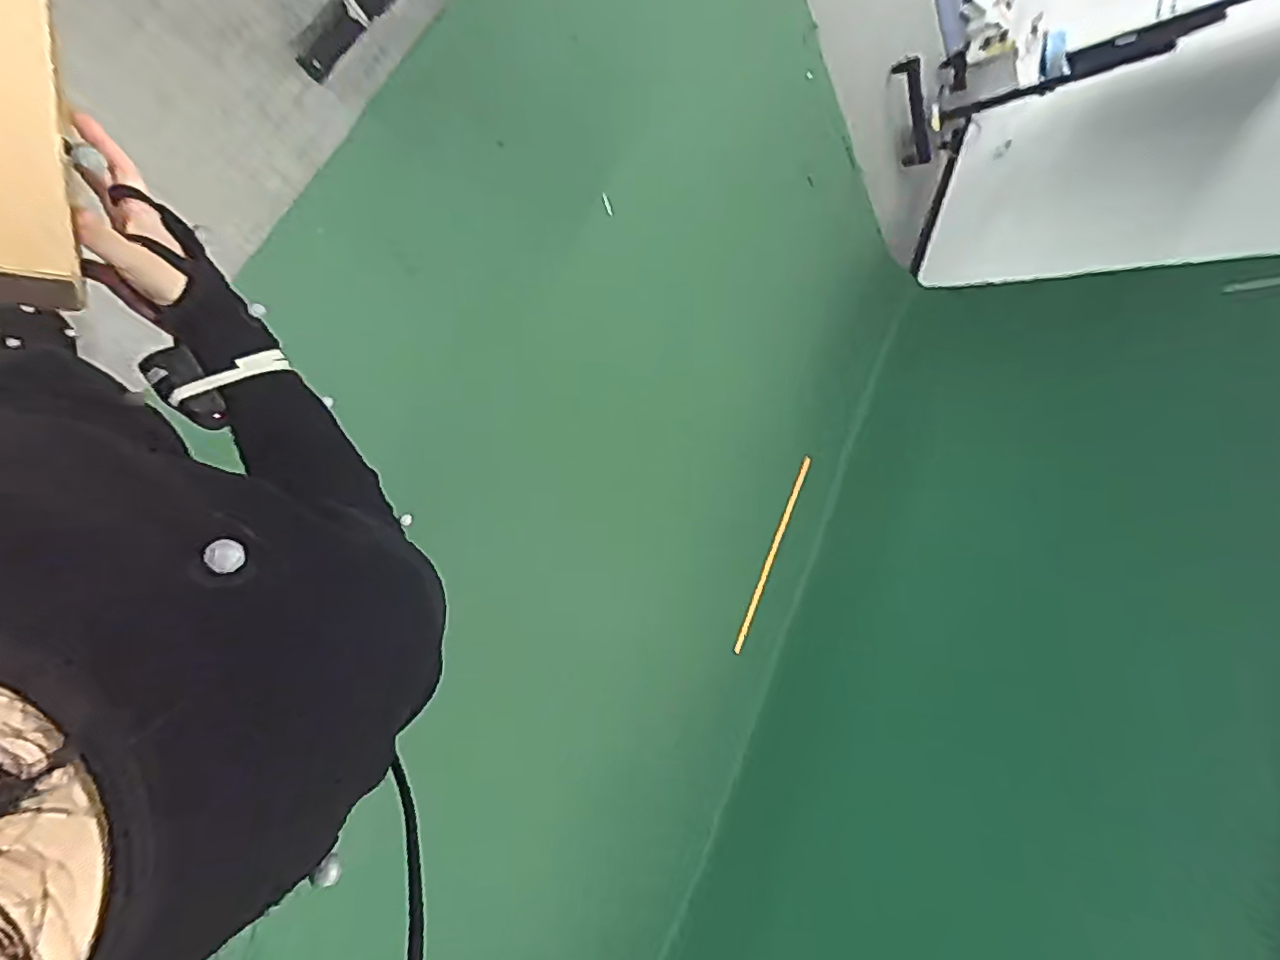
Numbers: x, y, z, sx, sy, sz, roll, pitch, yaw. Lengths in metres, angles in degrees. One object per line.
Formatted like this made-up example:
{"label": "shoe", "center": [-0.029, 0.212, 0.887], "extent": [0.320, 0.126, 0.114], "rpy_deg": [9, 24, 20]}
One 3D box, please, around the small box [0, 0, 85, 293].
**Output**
{"label": "small box", "center": [-0.423, -0.208, 0.285], "extent": [0.168, 0.176, 0.179], "rpy_deg": [-7, 103, -47]}
